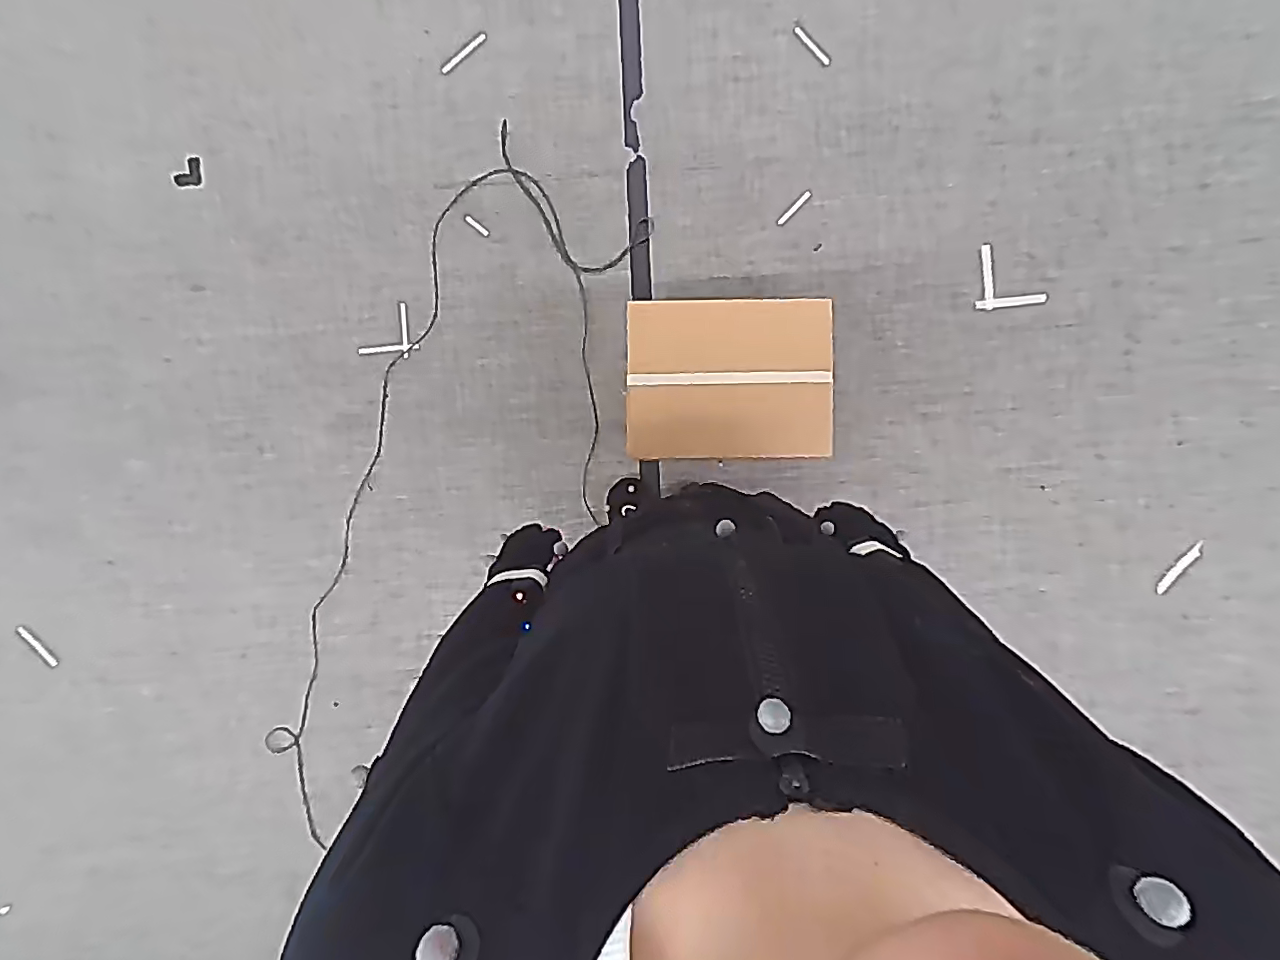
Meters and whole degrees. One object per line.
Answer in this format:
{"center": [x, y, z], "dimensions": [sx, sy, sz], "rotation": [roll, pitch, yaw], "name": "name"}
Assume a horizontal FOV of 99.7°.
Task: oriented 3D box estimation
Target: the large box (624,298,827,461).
{"center": [0.171, -0.205, 1.222], "dimensions": [0.408, 0.320, 0.320], "rotation": [-1, 92, 0], "name": "large box"}
